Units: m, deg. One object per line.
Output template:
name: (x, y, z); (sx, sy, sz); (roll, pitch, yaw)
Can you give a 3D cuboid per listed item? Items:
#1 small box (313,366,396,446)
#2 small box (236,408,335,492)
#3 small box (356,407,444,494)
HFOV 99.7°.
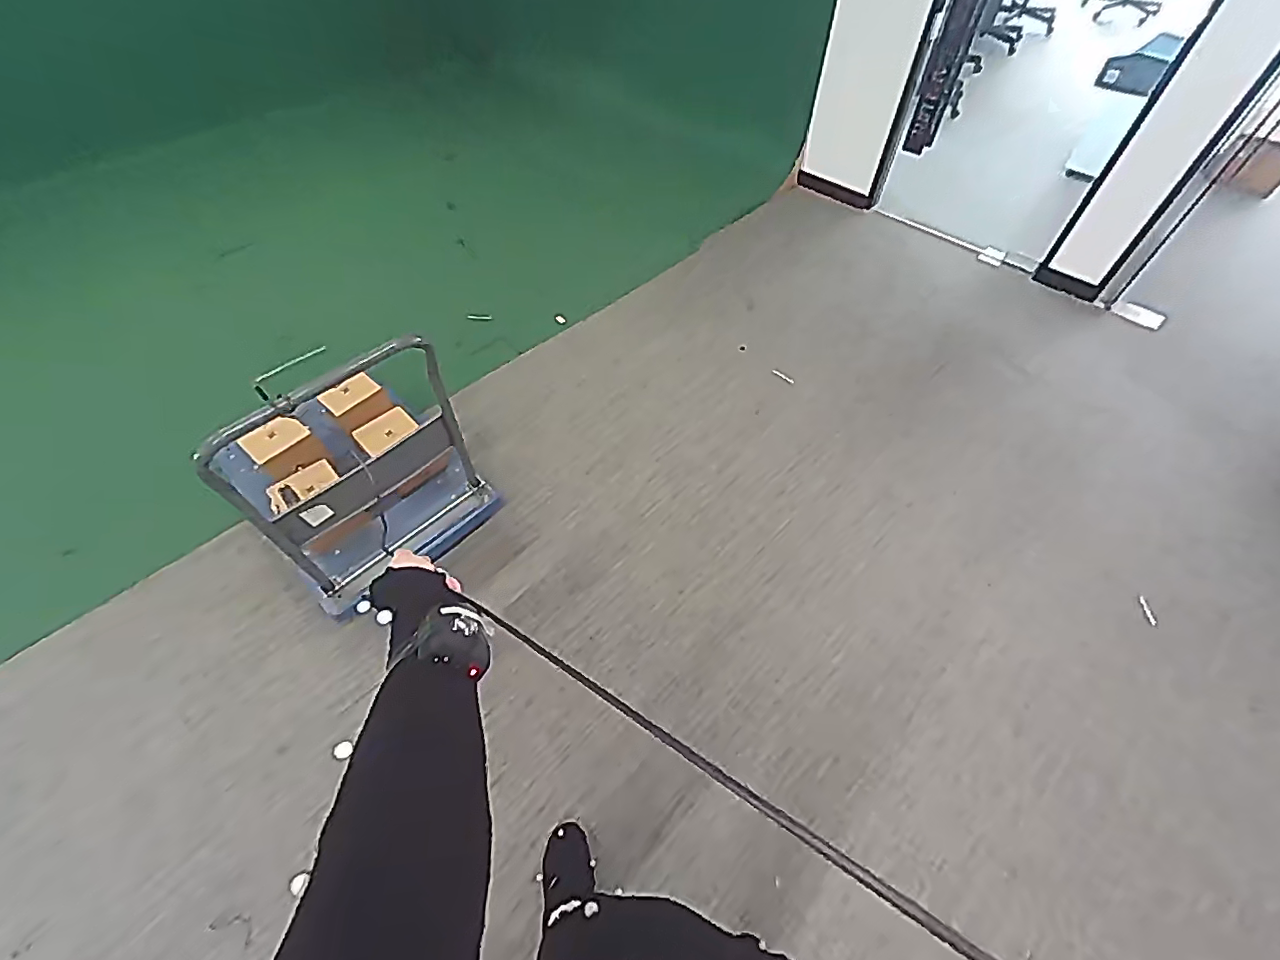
small box: (-0.941, -0.243, 1.810); (0.179, 0.176, 0.168); (36, 62, 22)
small box: (-1.105, -0.087, 1.699); (0.179, 0.176, 0.168); (35, 61, 23)
small box: (-0.749, -0.089, 1.700); (0.168, 0.176, 0.179); (-39, 64, -24)
